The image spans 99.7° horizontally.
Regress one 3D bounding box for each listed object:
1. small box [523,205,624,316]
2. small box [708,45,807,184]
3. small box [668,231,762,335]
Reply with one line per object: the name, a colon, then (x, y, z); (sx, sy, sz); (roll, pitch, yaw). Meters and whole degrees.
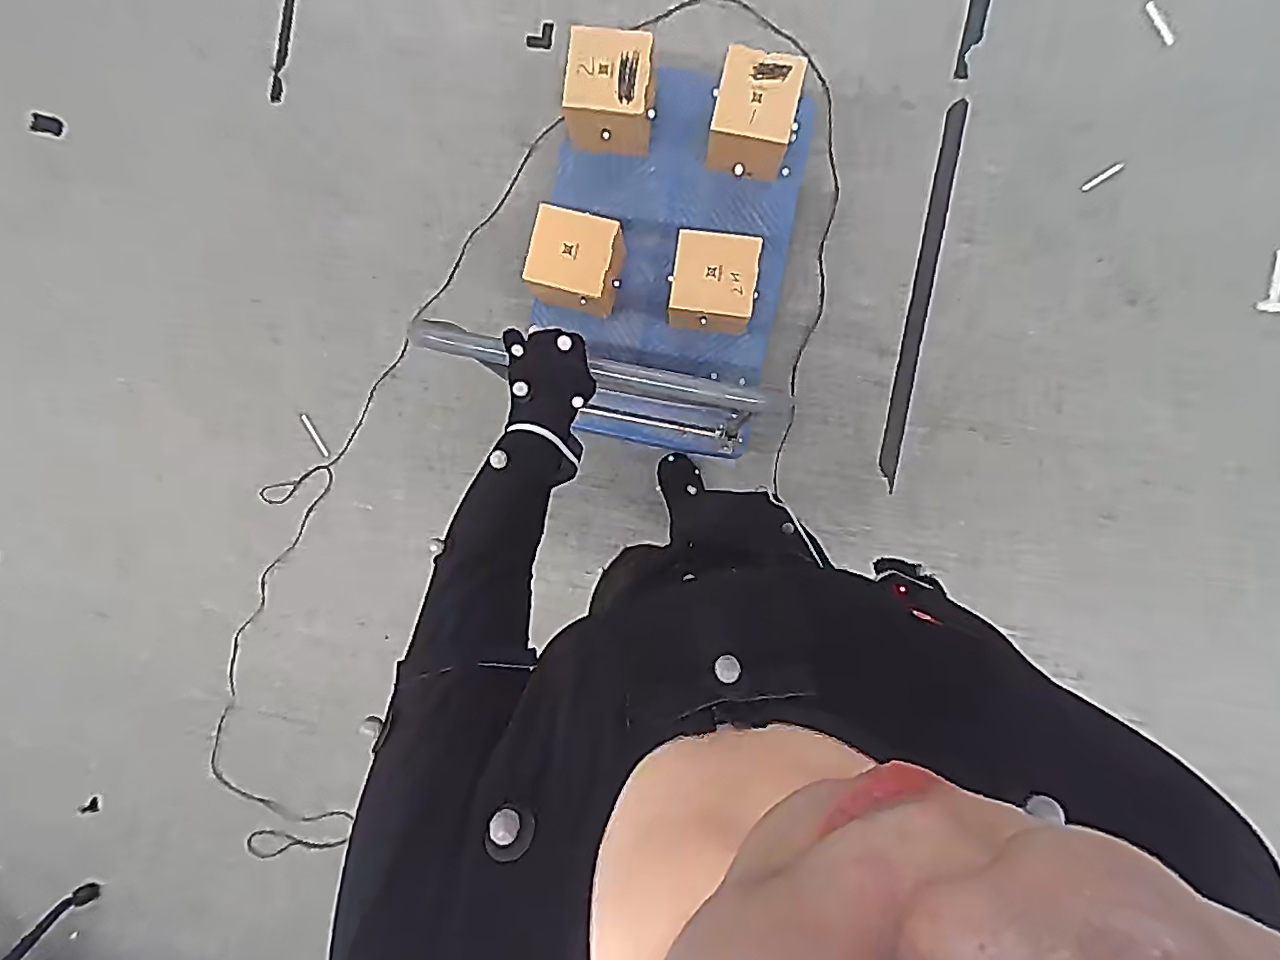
small box: (-0.143, -0.486, 1.222); (0.179, 0.176, 0.168); (14, 93, 1)
small box: (0.247, -0.790, 1.183); (0.168, 0.176, 0.179); (13, 94, 3)
small box: (0.161, -0.431, 1.204); (0.179, 0.176, 0.168); (8, 93, 4)
